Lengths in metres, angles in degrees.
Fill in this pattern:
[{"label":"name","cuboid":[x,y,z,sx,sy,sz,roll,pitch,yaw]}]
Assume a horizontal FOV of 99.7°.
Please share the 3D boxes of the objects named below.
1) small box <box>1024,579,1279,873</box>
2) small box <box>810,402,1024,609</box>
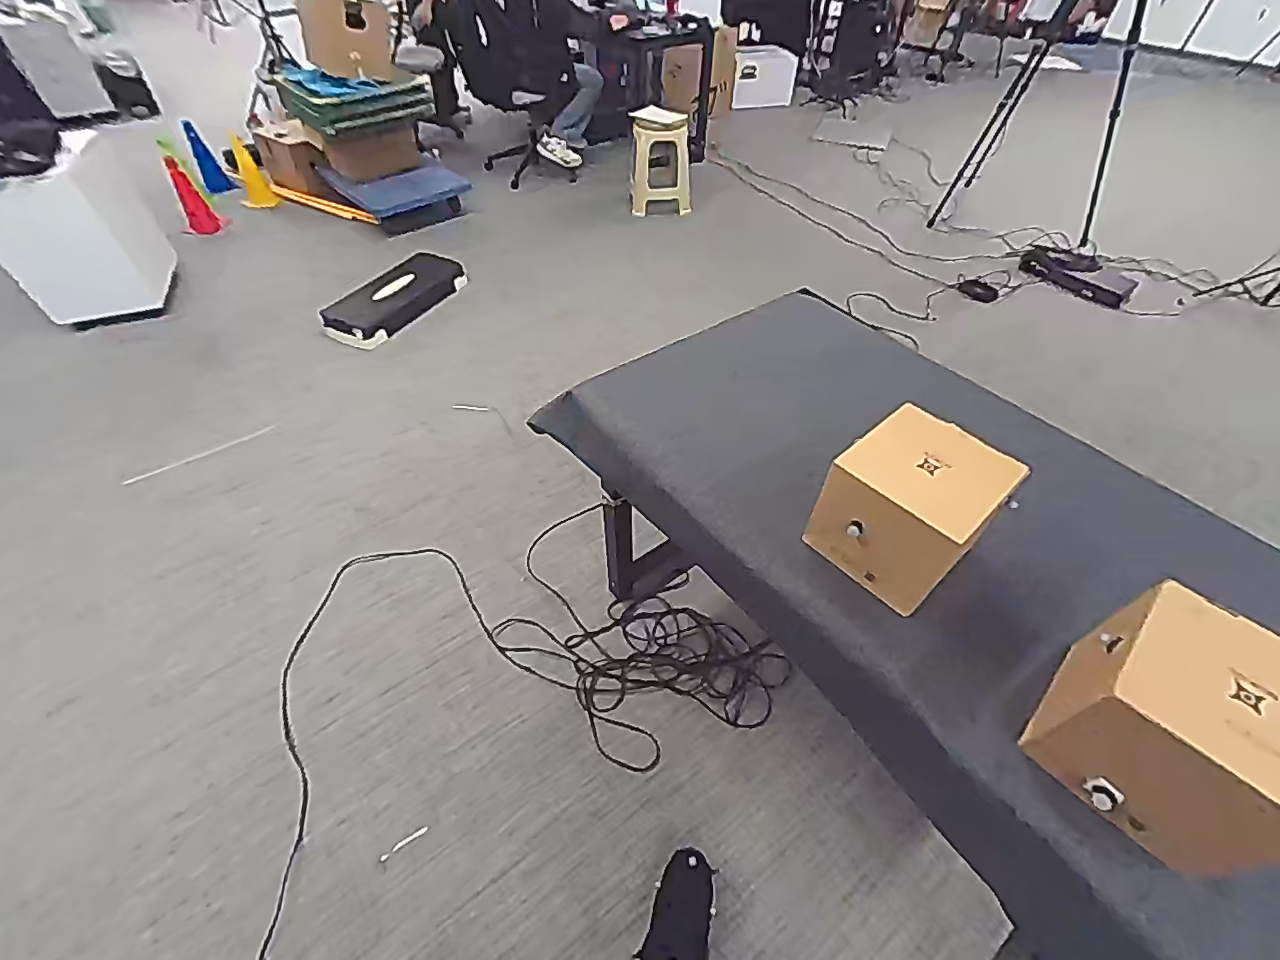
[{"label":"small box","cuboid":[0.527,0.239,0.533,0.179,0.176,0.168,-35,57,-27]},{"label":"small box","cuboid":[0.346,0.035,0.710,0.179,0.176,0.168,-33,57,-28]}]
